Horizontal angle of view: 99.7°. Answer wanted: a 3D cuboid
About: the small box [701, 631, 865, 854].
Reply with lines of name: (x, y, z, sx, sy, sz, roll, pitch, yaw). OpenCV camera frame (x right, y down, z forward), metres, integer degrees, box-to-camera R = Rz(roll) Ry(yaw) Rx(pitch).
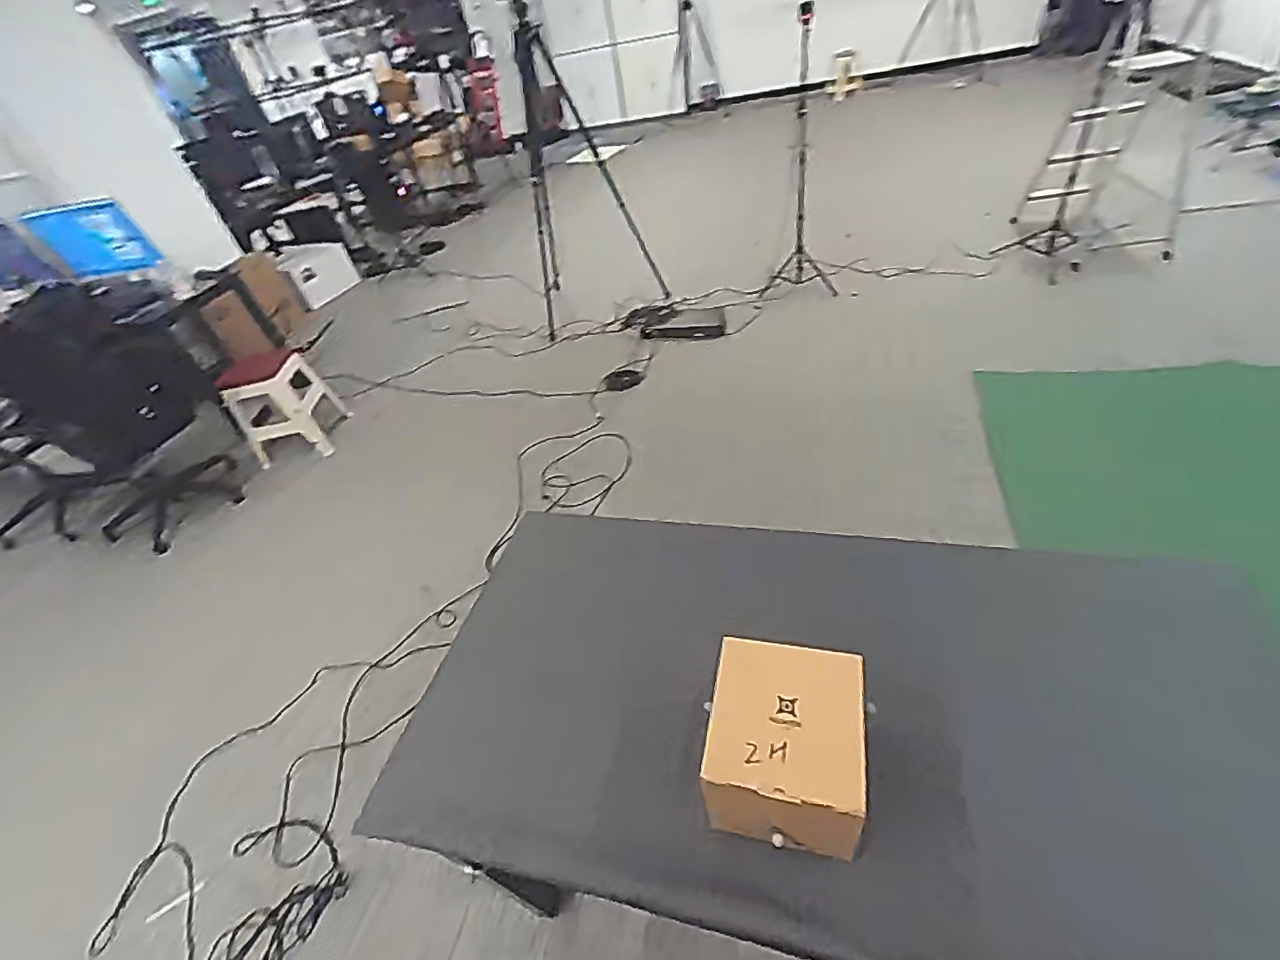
small box: (0.176, 0.314, 0.656, 0.168, 0.176, 0.179, 3, 44, 19)
